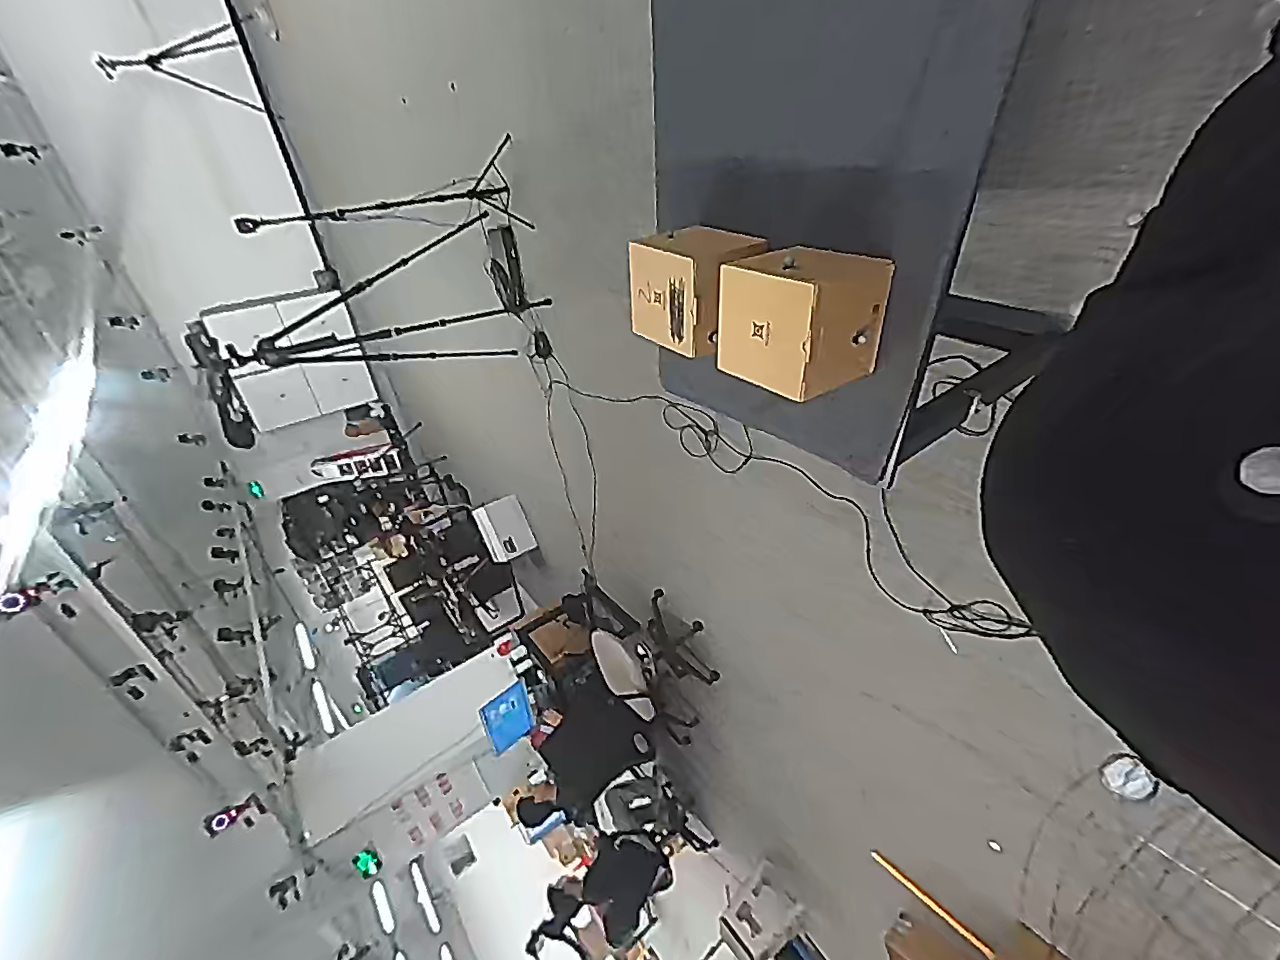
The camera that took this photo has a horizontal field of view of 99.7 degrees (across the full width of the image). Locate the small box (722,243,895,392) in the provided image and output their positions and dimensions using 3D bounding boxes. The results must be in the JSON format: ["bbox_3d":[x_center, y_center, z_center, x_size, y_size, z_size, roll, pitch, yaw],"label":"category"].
[{"bbox_3d":[0.246,-0.255,0.818,0.179,0.176,0.168,35,139,44],"label":"small box"}]
